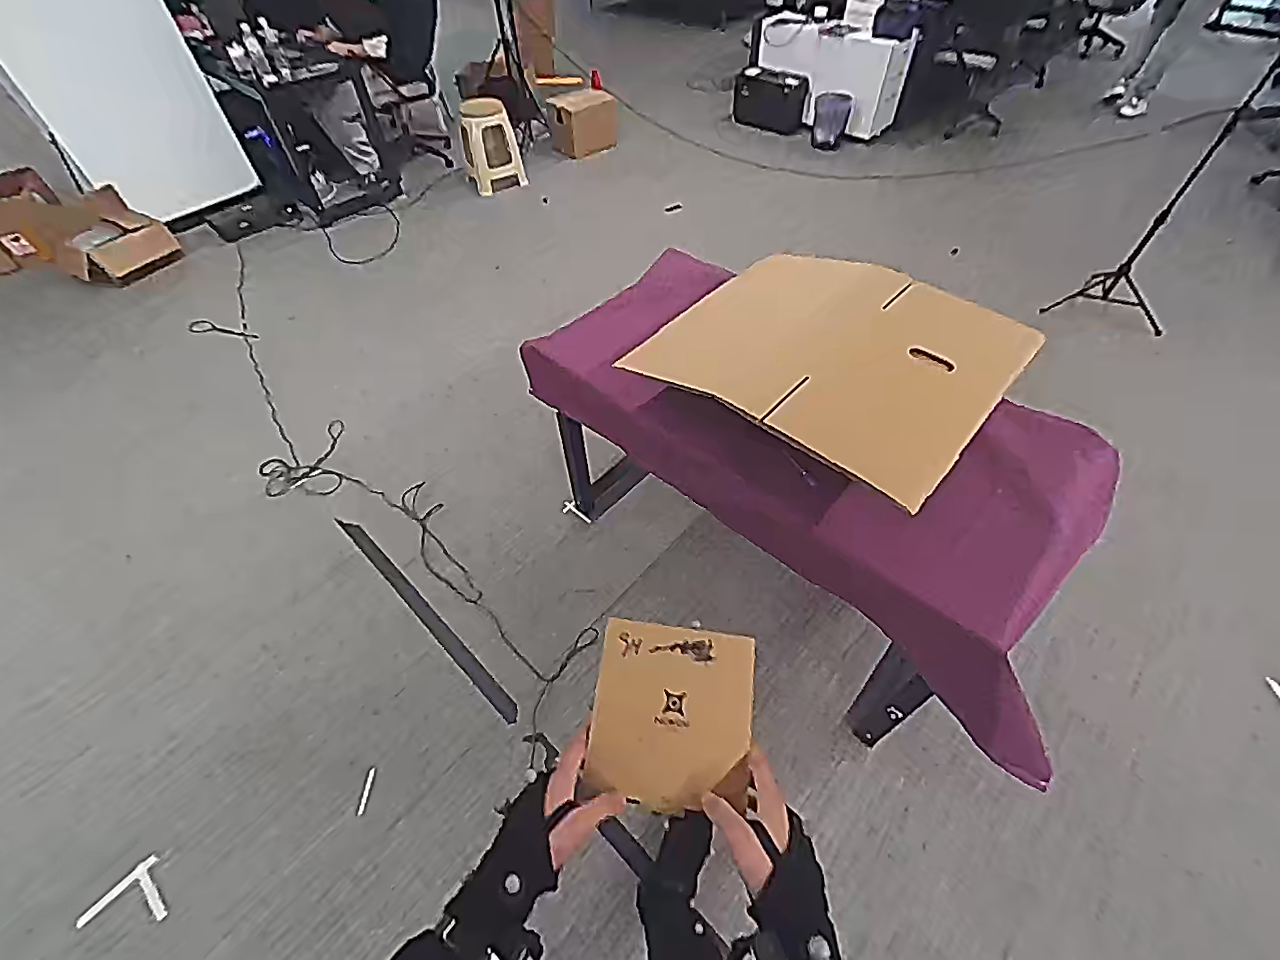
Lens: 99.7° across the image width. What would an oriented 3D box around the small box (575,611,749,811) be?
[{"bbox_3d":[0.028,0.269,0.643,0.168,0.176,0.179,8,65,3],"label":"small box"}]
